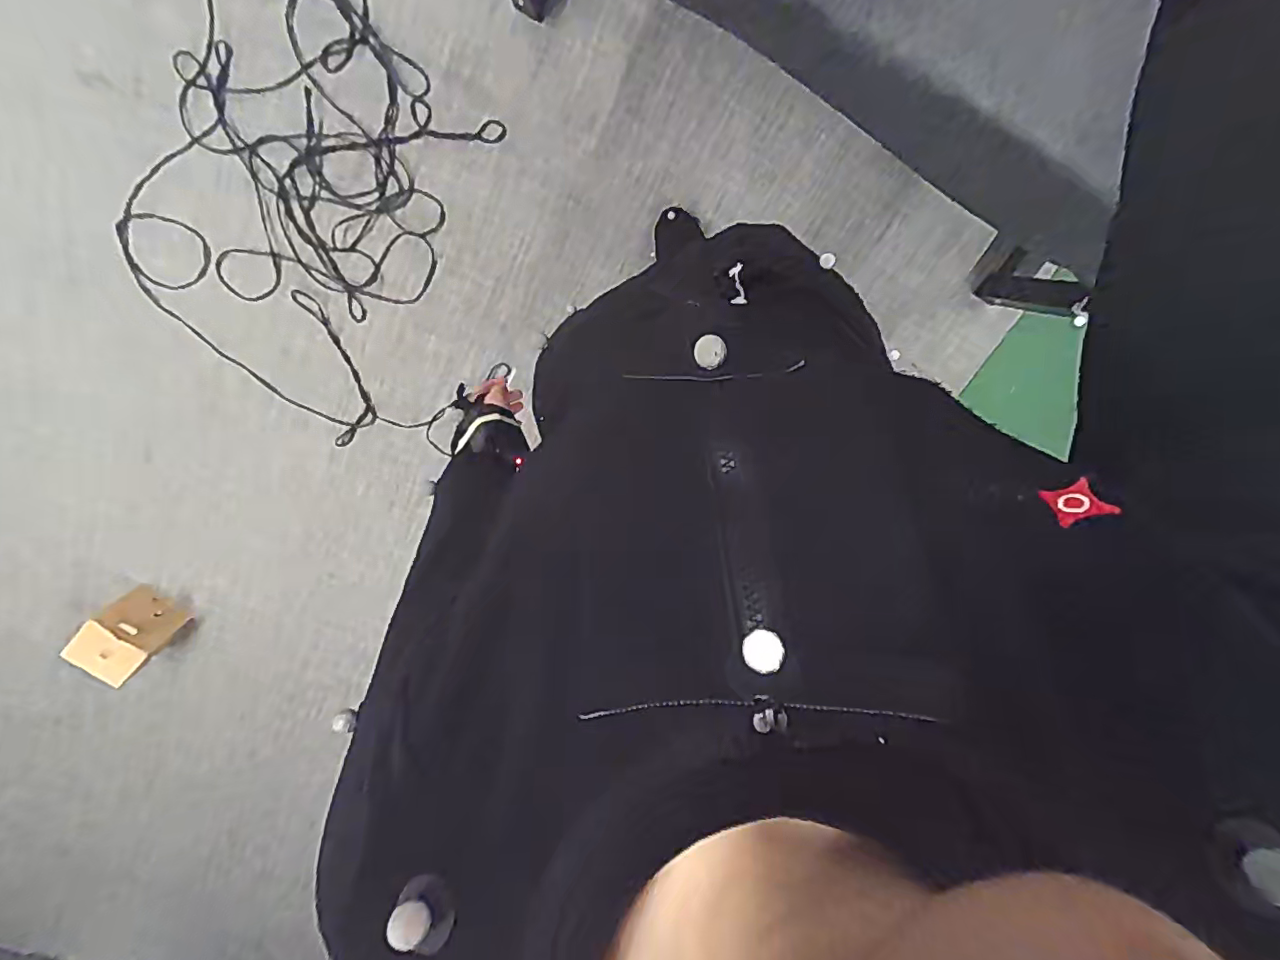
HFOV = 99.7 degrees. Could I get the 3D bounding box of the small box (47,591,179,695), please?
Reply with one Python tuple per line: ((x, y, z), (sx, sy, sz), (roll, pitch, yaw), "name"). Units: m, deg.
((-1.440, 0.444, 1.490), (0.179, 0.176, 0.168), (-40, 107, 15), "small box")
